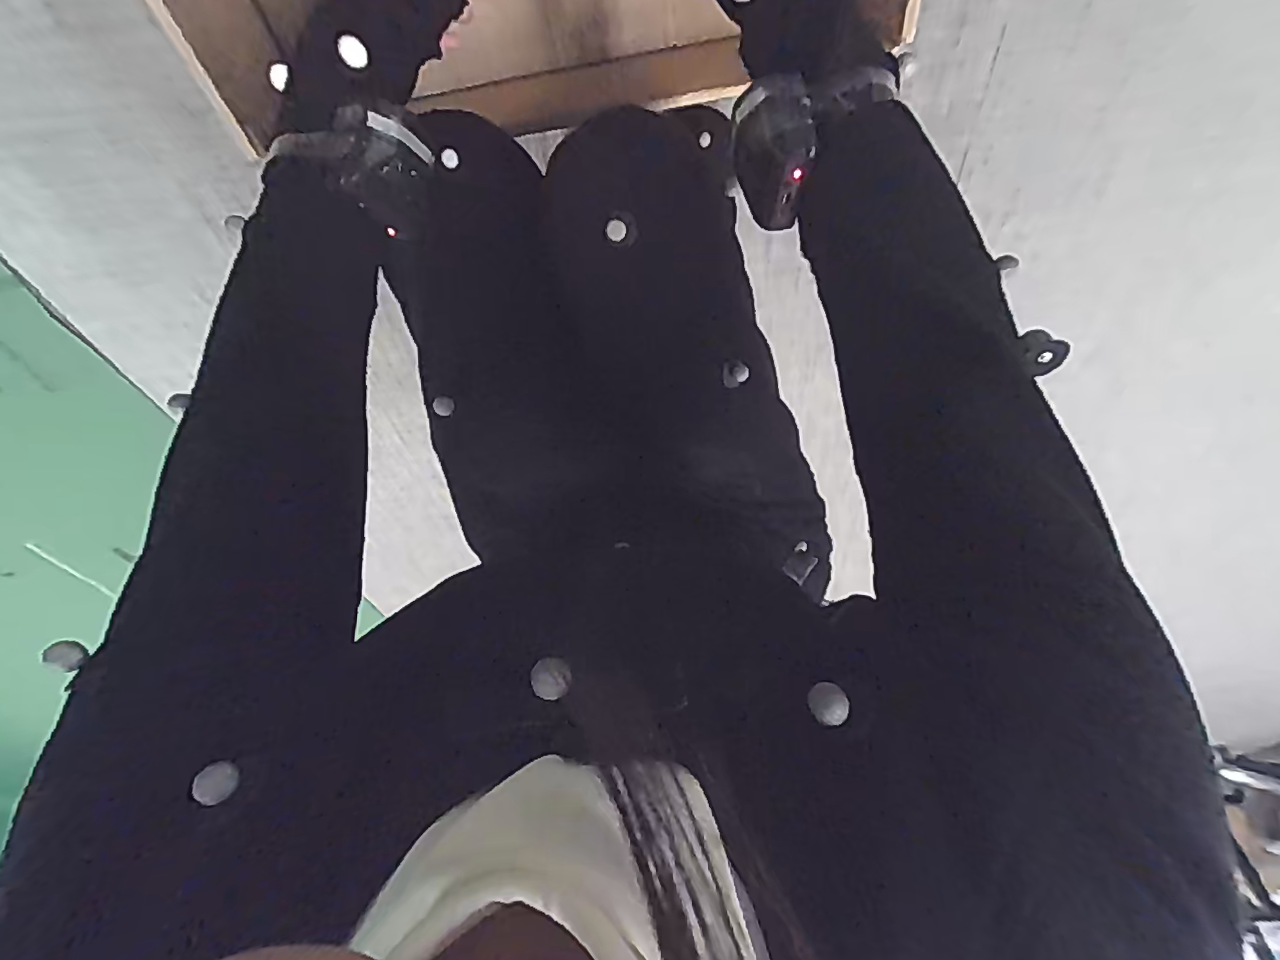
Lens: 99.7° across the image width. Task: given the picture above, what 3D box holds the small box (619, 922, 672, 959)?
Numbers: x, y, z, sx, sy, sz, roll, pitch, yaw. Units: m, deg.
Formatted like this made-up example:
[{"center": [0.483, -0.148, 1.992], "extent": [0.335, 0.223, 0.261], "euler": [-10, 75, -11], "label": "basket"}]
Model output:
[{"center": [0.020, 1.618, 1.838], "extent": [0.168, 0.176, 0.179], "euler": [-5, 141, 5], "label": "small box"}]
